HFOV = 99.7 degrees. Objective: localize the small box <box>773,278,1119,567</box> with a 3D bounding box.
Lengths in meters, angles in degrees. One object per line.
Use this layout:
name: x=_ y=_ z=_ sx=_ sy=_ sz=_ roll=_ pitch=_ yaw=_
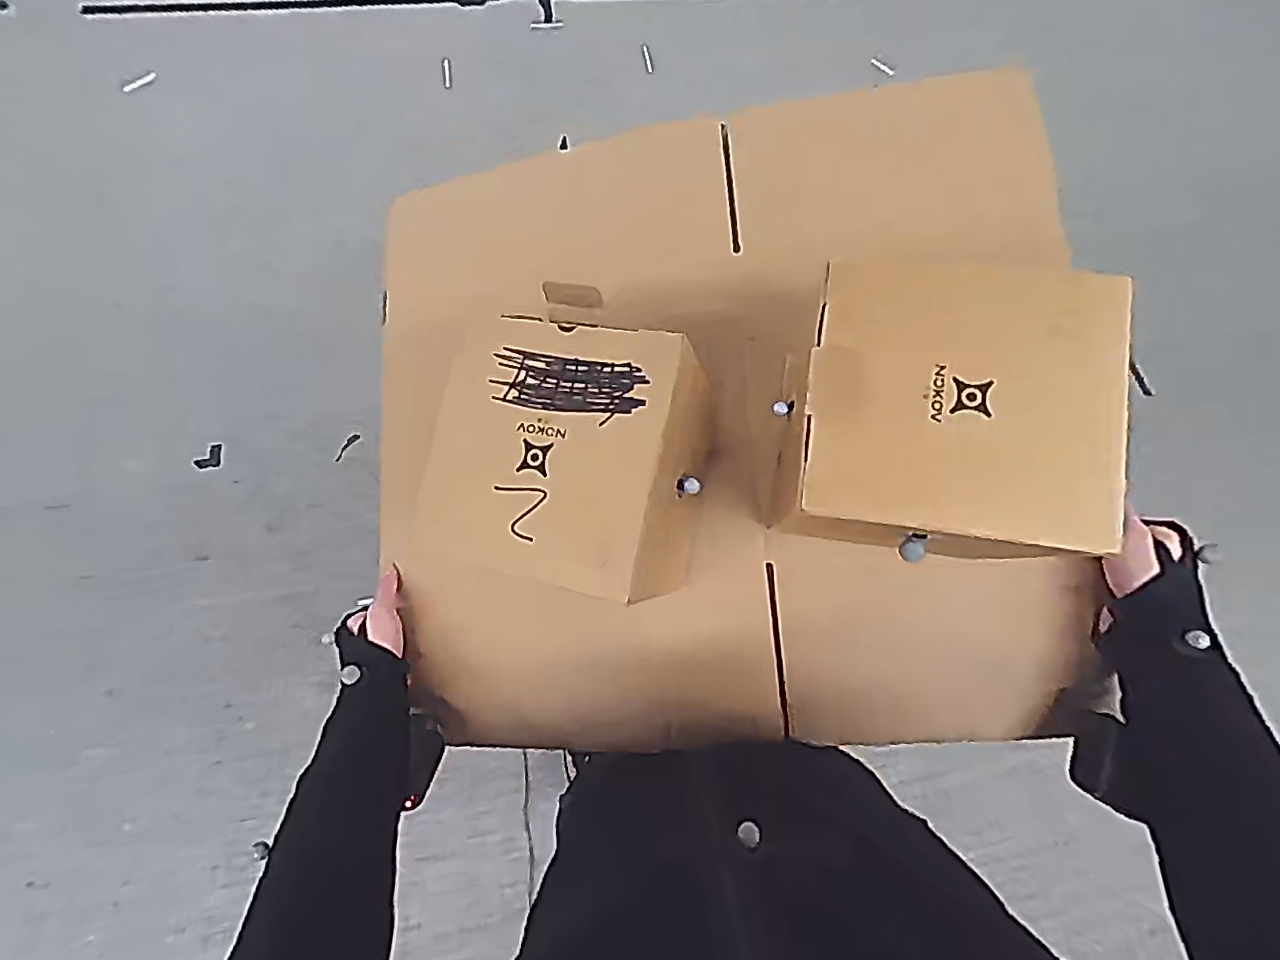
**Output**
small box: x=0.206 y=-0.030 z=0.411 sx=0.179 sy=0.176 sz=0.168 roll=7 pitch=83 yaw=10
